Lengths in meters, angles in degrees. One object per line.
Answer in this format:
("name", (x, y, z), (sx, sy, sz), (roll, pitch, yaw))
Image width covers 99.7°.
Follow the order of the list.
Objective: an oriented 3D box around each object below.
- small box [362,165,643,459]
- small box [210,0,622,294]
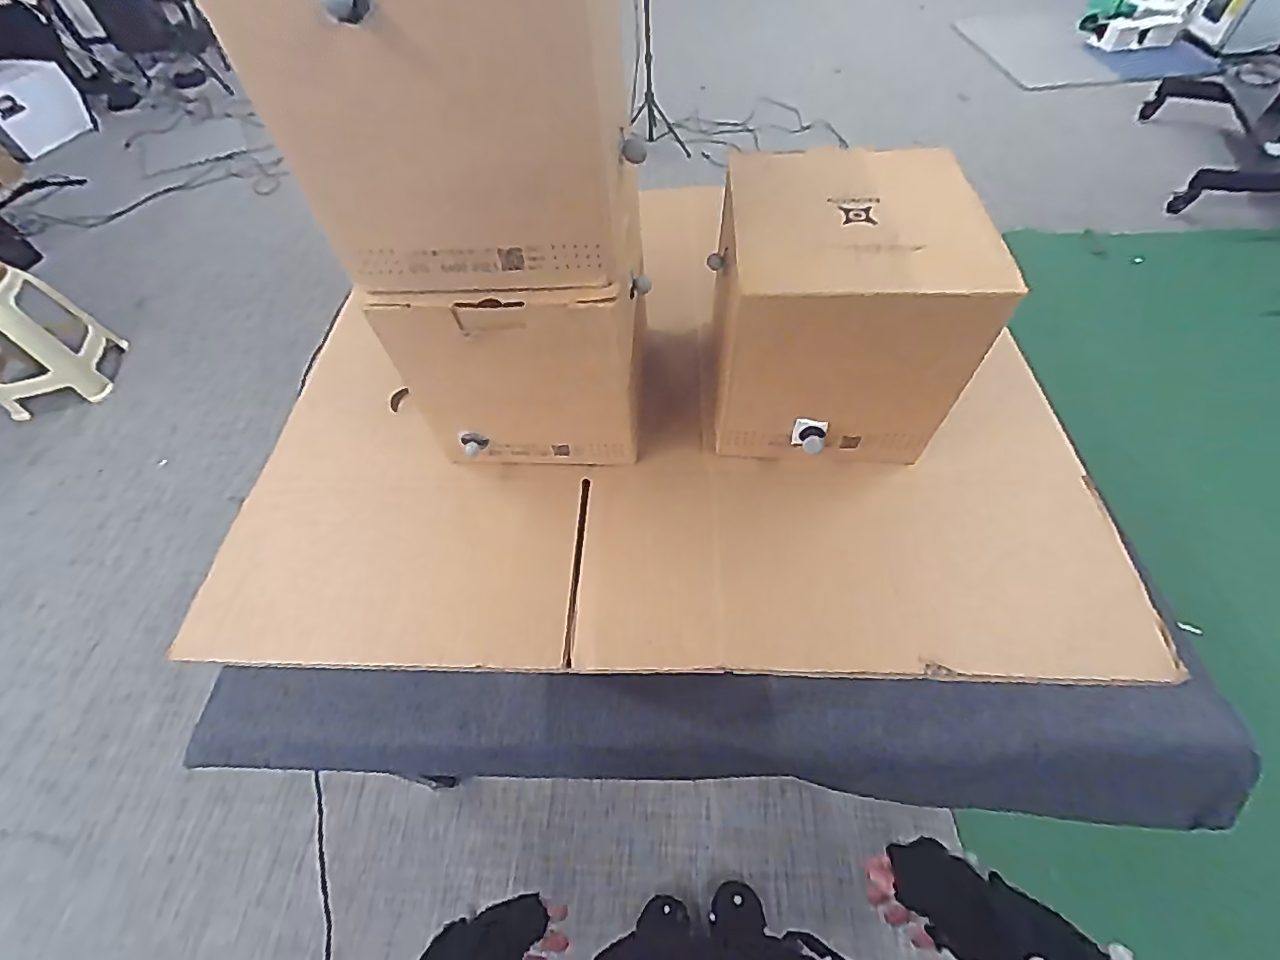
("small box", (-0.087, -0.131, 0.450), (0.168, 0.176, 0.179), (1, 55, 5))
("small box", (-0.101, -0.234, 0.323), (0.168, 0.176, 0.179), (0, 55, 4))
